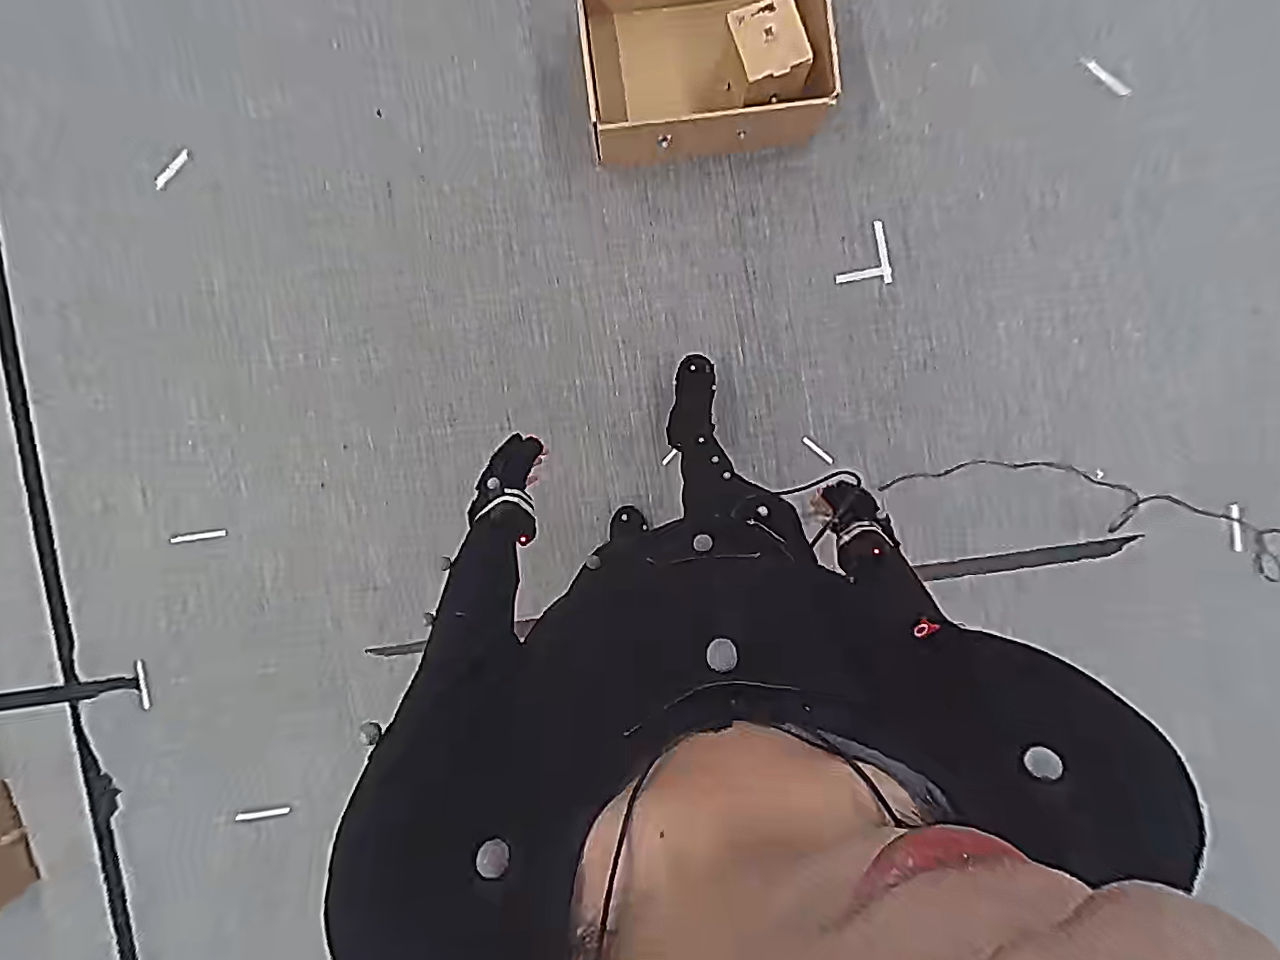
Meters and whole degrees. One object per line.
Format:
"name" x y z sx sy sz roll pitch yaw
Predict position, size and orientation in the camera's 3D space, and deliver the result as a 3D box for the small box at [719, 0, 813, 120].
"small box" 0.312 -1.052 1.365 0.168 0.176 0.179 -19 91 0
